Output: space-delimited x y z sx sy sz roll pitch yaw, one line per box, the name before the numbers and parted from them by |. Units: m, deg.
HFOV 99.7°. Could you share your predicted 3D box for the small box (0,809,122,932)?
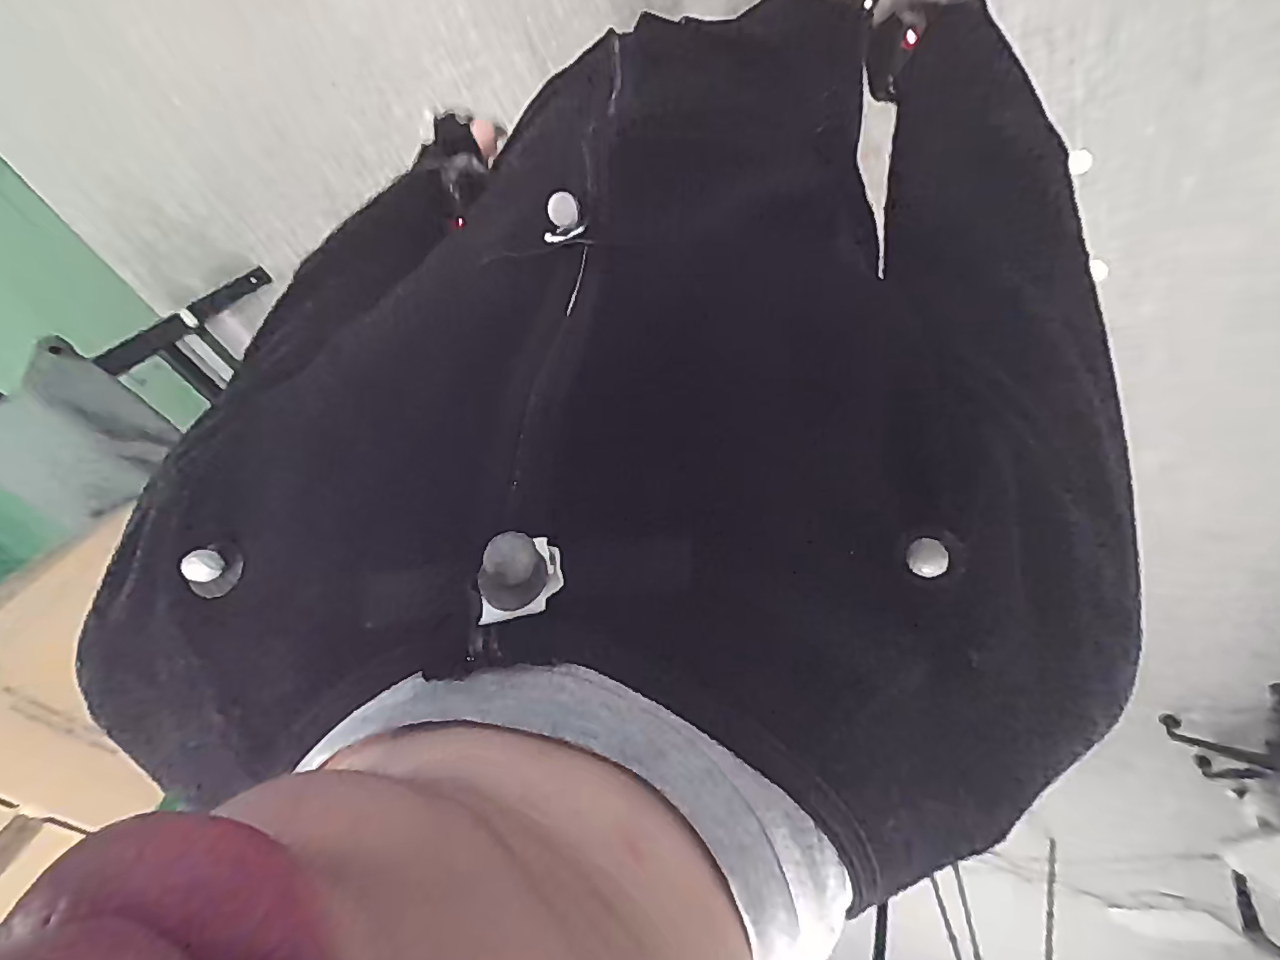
small box | -1.304 0.843 1.175 0.168 0.176 0.179 -13 128 26
